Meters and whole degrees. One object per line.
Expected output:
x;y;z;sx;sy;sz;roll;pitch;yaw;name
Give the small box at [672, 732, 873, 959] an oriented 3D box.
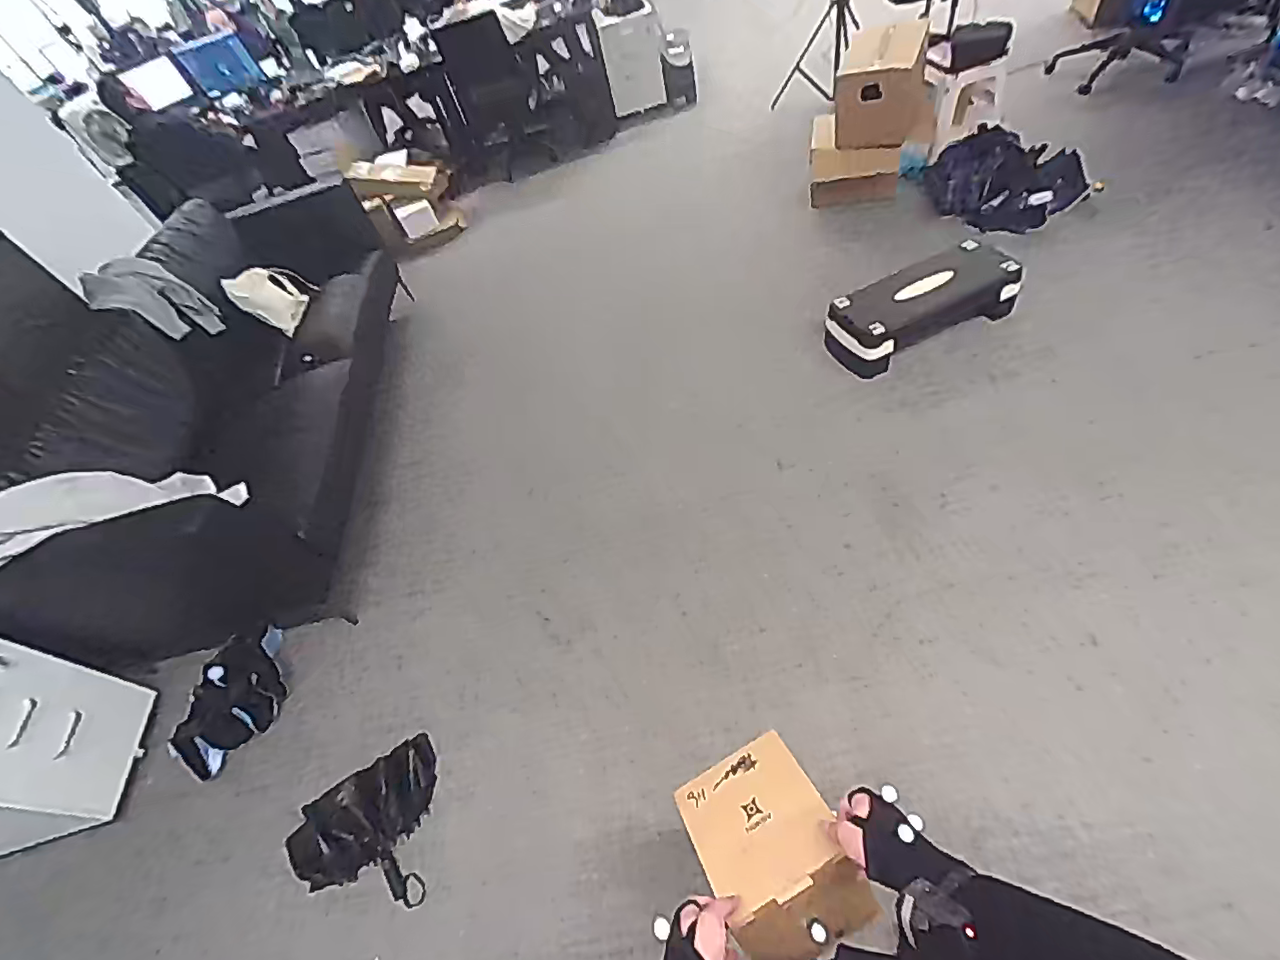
0.170;0.478;0.697;0.168;0.176;0.179;-30;28;-5;small box
